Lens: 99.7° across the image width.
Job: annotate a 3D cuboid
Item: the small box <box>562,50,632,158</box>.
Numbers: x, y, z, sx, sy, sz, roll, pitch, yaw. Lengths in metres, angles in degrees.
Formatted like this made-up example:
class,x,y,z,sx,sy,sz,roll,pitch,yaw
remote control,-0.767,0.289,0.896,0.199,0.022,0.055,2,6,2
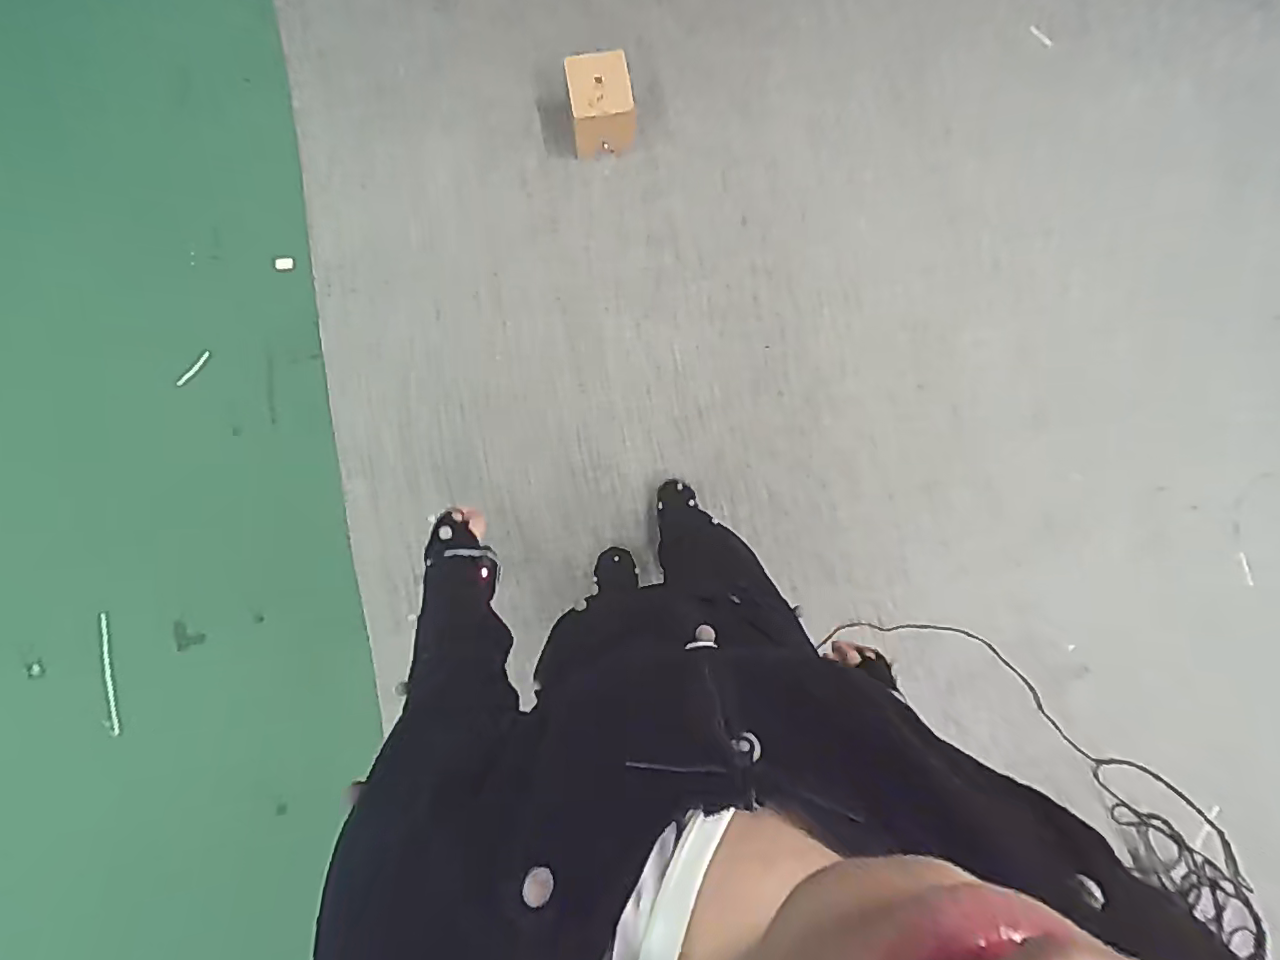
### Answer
class,x,y,z,sx,sy,sz,roll,pitch,yaw
small box,-0.118,-1.035,1.499,0.168,0.176,0.179,-10,87,-3
